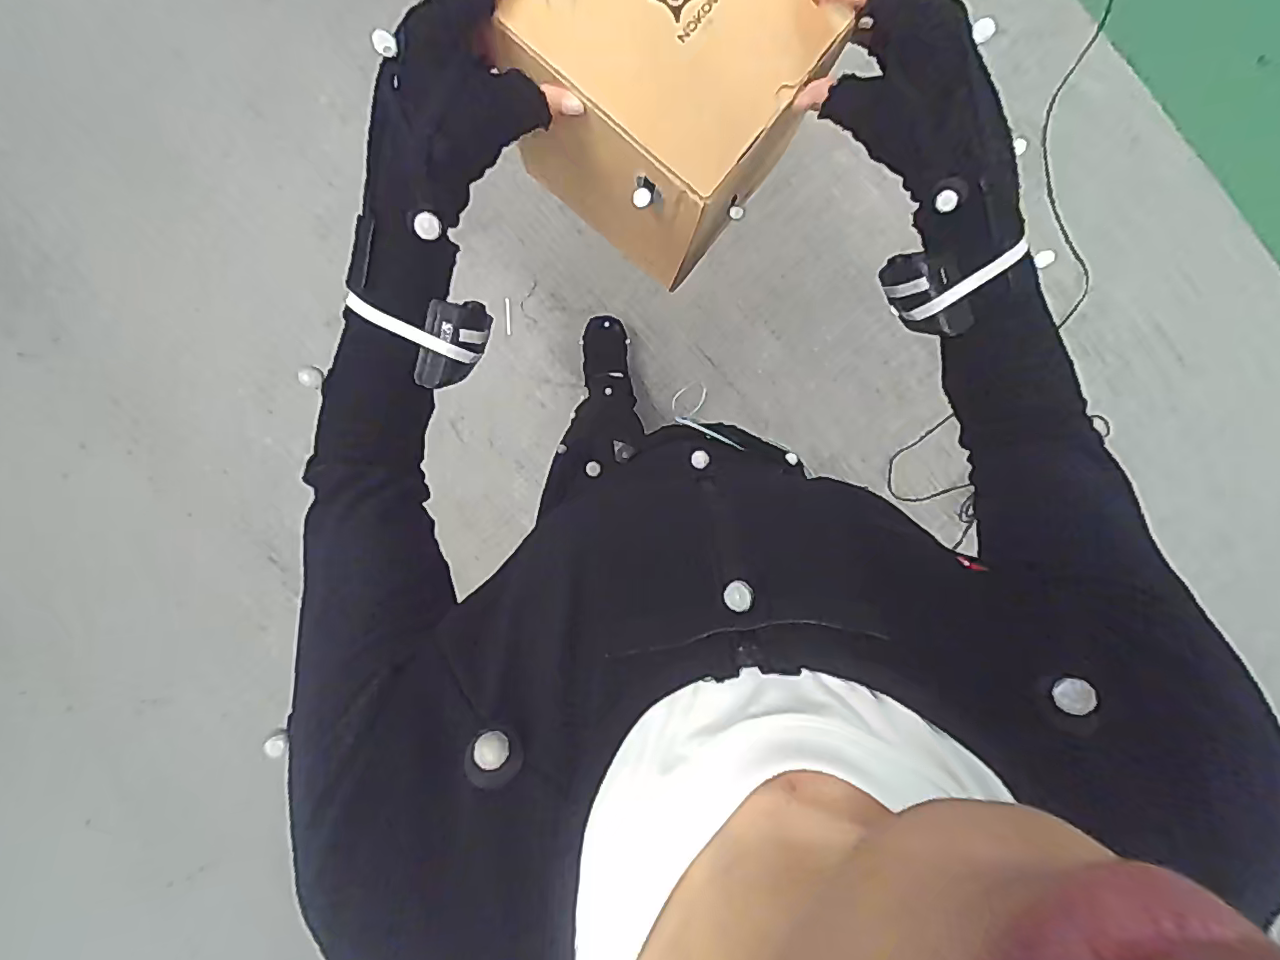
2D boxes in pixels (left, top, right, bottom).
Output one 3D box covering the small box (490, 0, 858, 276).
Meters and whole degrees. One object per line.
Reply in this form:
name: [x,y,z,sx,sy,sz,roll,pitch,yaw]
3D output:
small box: [0.017,-0.292,0.415,0.179,0.176,0.168,39,88,-5]
